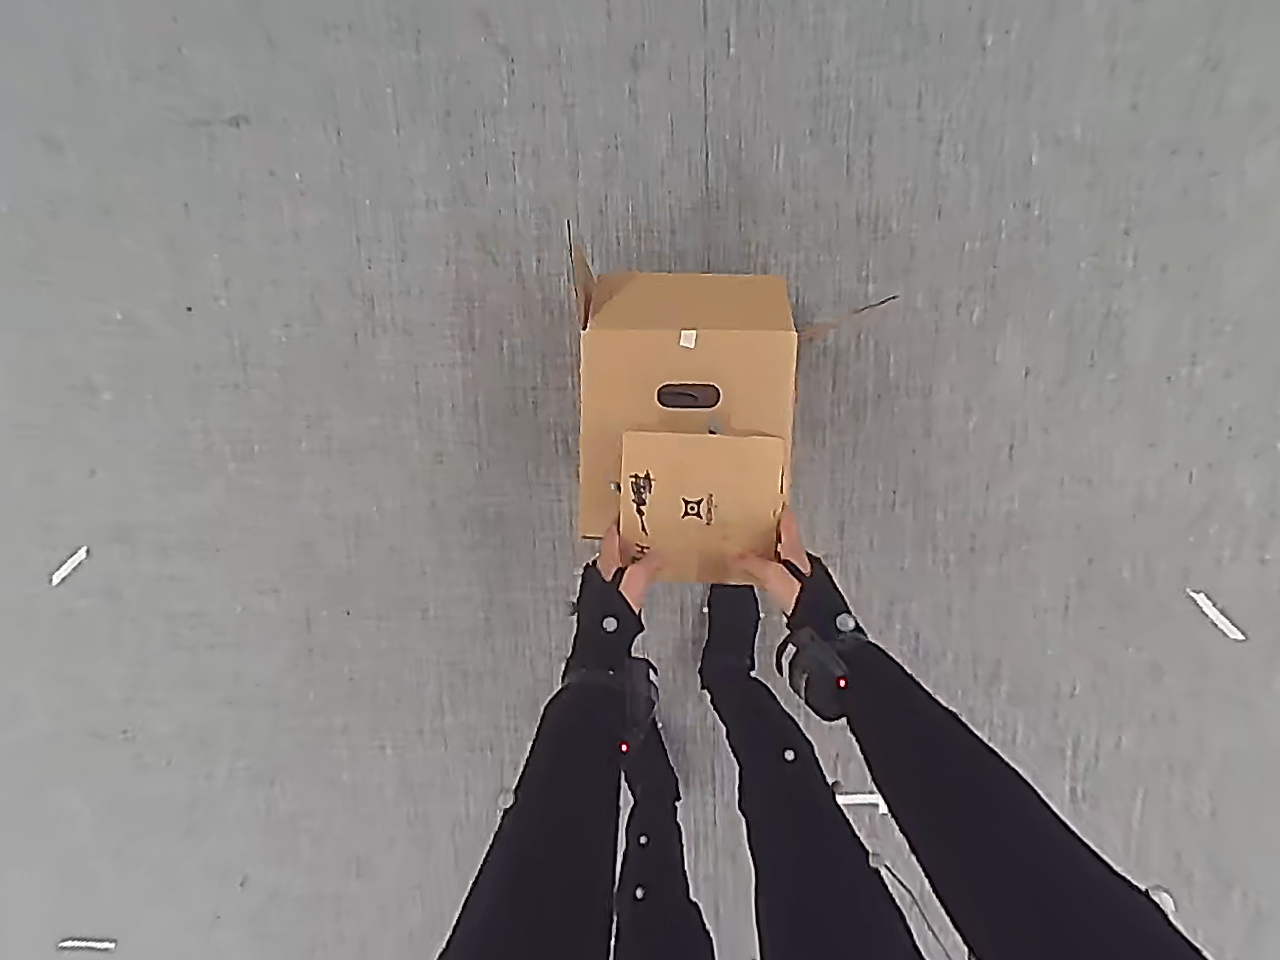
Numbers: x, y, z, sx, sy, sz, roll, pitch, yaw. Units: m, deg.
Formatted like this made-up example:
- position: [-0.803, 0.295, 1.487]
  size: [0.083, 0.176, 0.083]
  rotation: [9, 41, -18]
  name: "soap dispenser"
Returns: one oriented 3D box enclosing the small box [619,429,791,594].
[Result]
- position: [0.068, 0.028, 0.654]
  size: [0.179, 0.176, 0.168]
  rotation: [3, 99, 1]
  name: "small box"
